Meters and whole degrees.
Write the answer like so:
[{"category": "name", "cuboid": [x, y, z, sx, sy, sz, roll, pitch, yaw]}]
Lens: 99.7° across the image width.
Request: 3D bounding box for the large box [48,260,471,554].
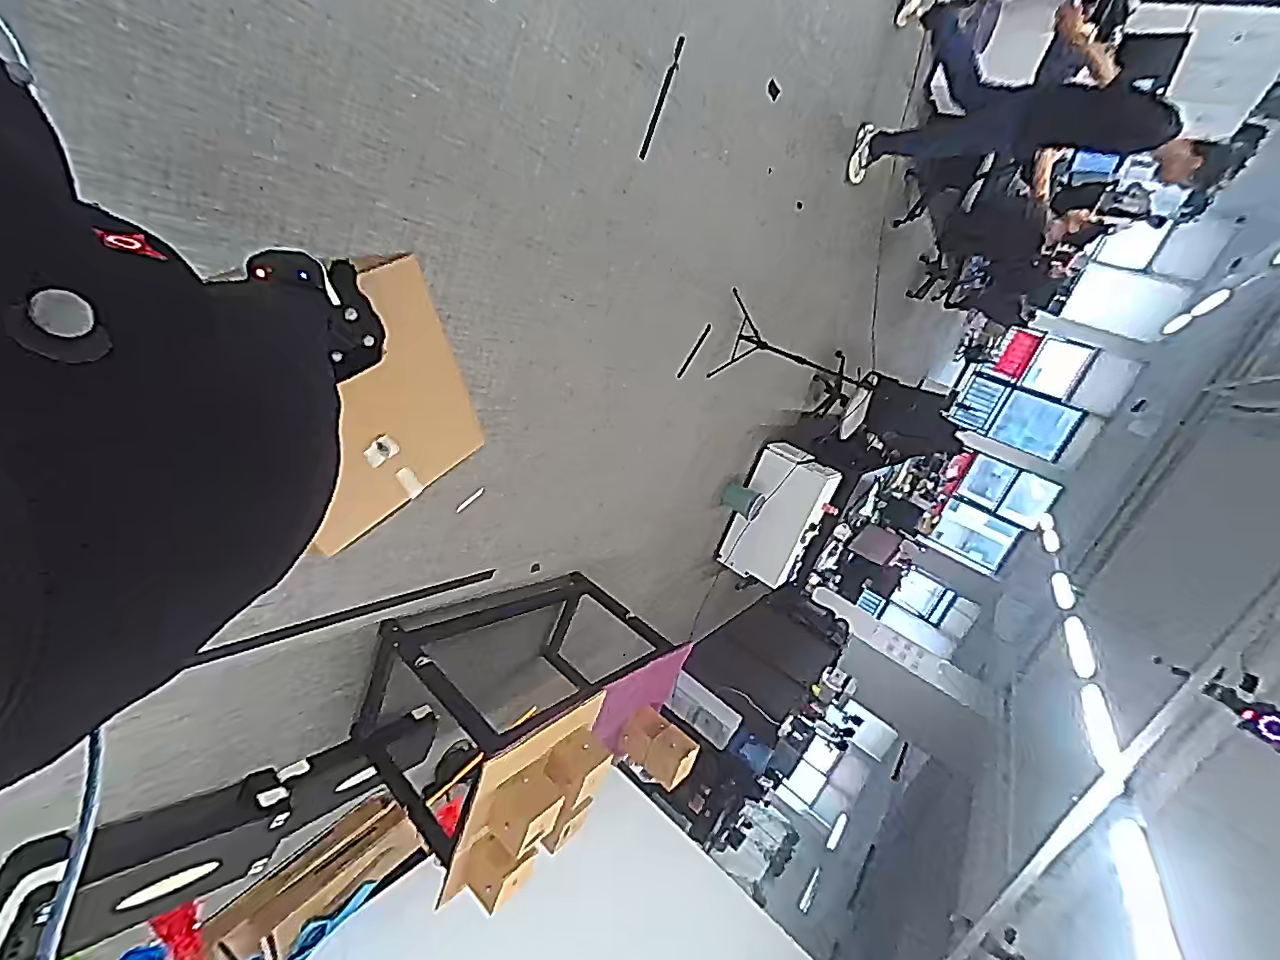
[{"category": "large box", "cuboid": [-0.546, -0.126, 0.830, 0.320, 0.408, 0.320, -47, 136, -44]}]
